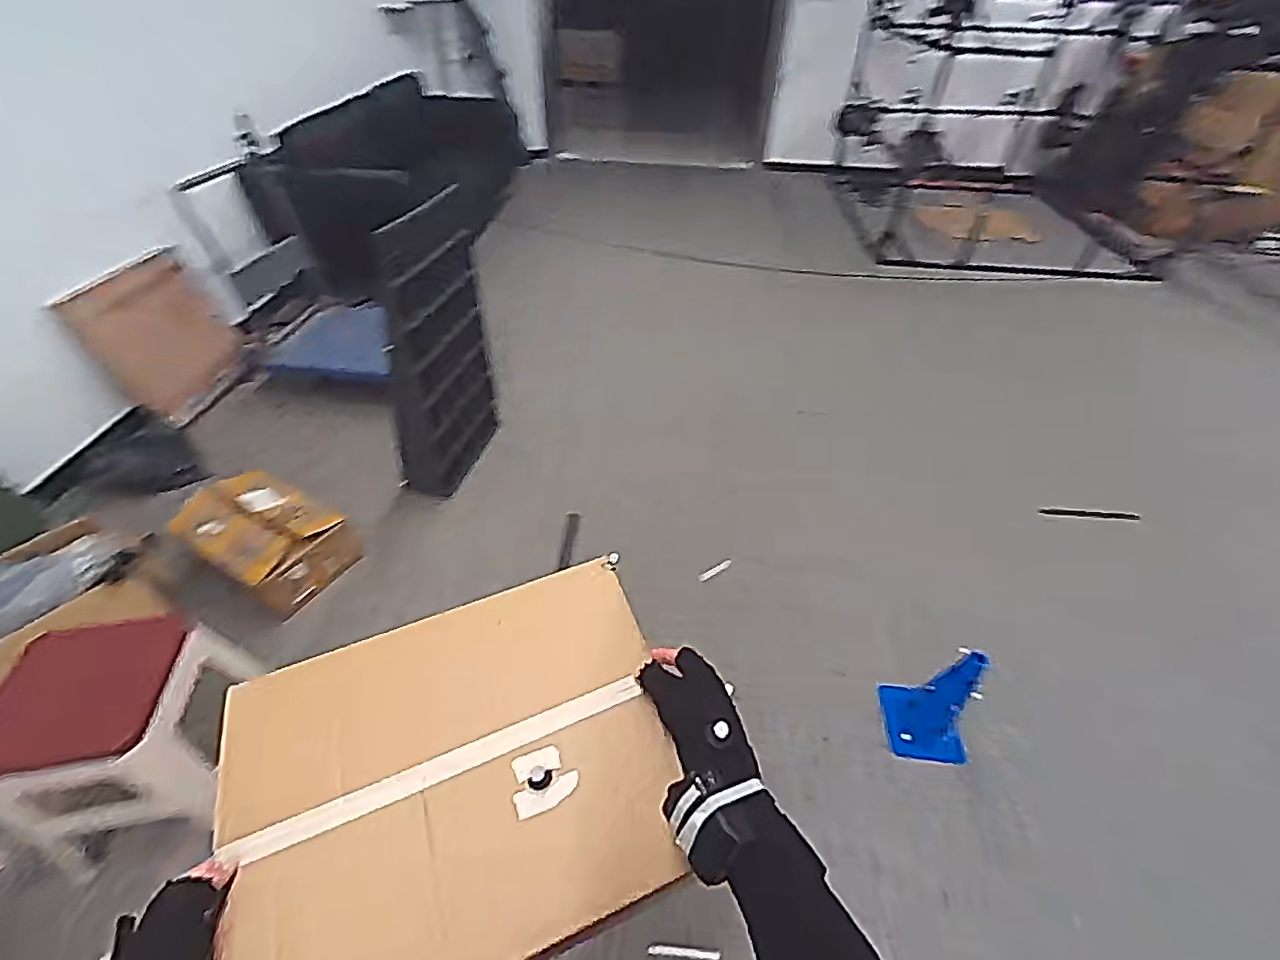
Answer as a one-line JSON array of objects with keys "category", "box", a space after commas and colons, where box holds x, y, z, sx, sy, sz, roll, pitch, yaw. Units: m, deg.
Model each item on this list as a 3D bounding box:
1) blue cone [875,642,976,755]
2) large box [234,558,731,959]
[{"category": "blue cone", "box": [0.776, 0.546, 1.405, 0.193, 0.380, 0.192, 7, 42, 4]}, {"category": "large box", "box": [-0.158, 0.353, 0.623, 0.408, 0.320, 0.320, -16, 52, -14]}]
